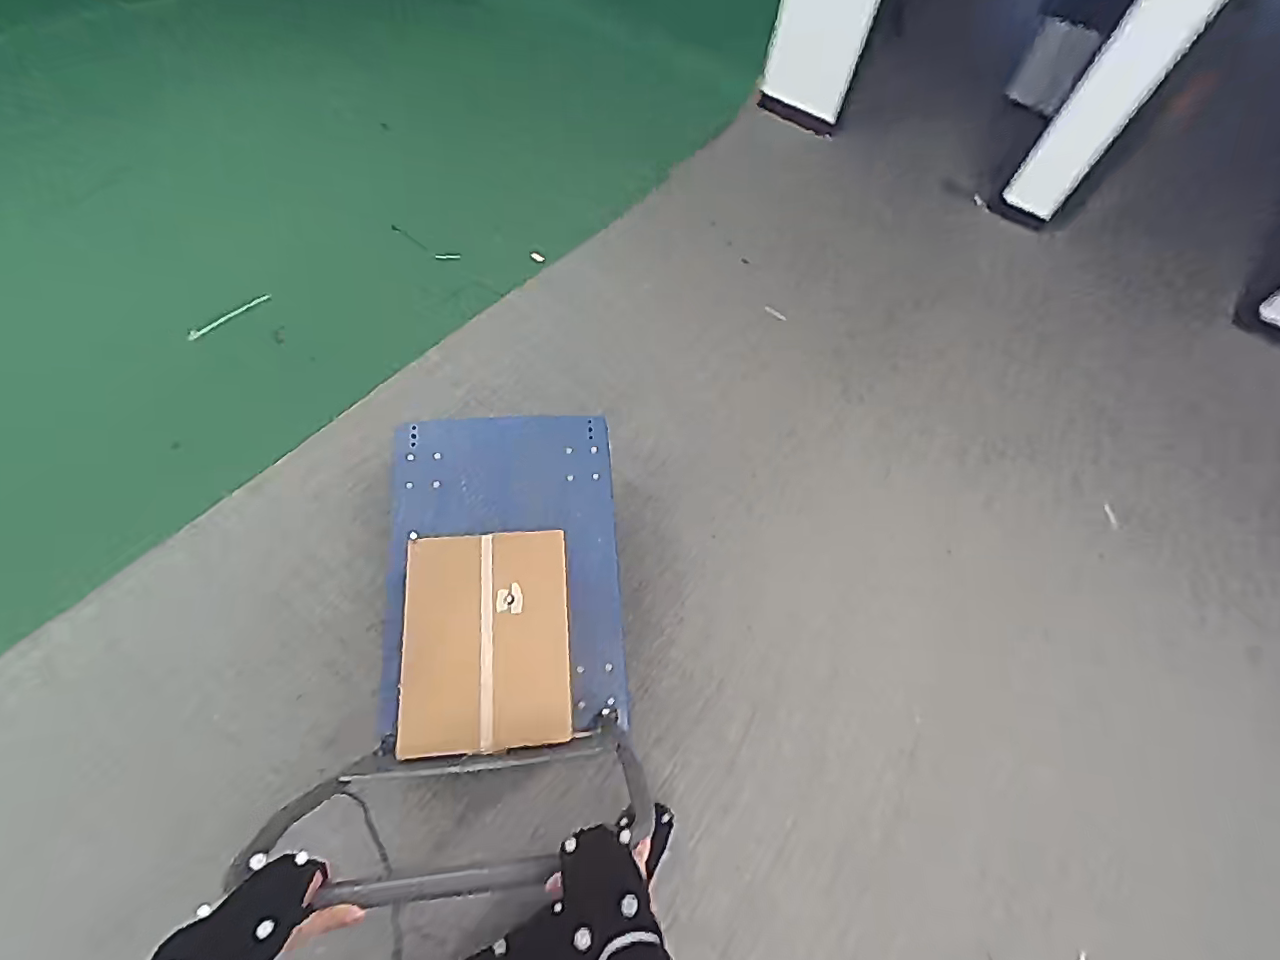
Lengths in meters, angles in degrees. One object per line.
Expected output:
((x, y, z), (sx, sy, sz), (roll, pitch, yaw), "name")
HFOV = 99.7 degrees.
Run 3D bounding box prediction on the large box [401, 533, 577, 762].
((-0.308, 0.359, 1.182), (0.320, 0.320, 0.408), (-3, 70, -8), "large box")
